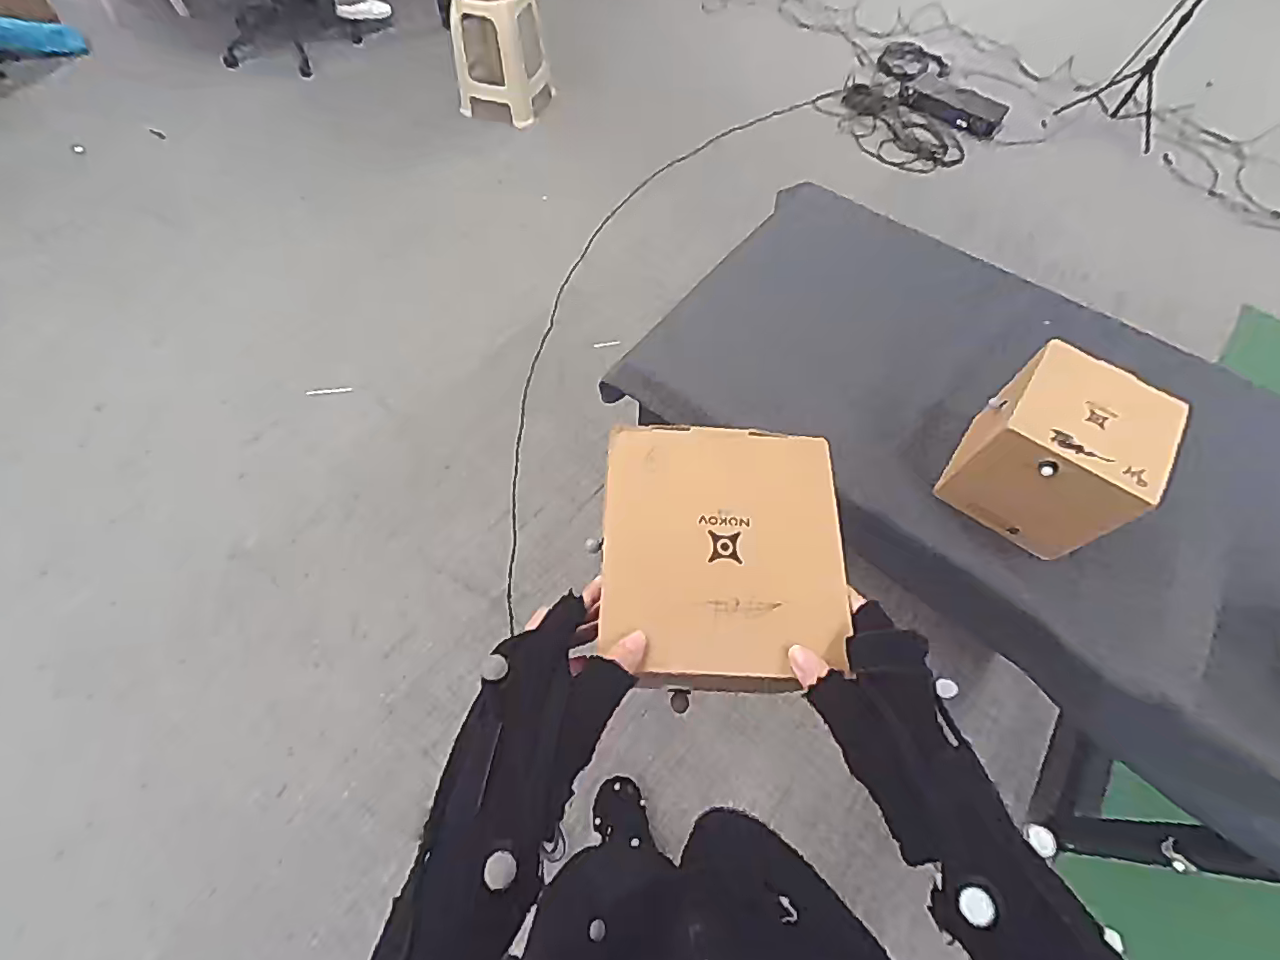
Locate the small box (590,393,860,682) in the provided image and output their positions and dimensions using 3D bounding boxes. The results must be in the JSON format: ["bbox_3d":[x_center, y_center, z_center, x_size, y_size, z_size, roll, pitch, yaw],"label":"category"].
[{"bbox_3d":[0.052,0.056,0.426,0.168,0.176,0.179,5,66,-1],"label":"small box"}]

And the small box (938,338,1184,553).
[{"bbox_3d":[0.523,-0.039,0.693,0.168,0.176,0.179,35,65,16],"label":"small box"}]
